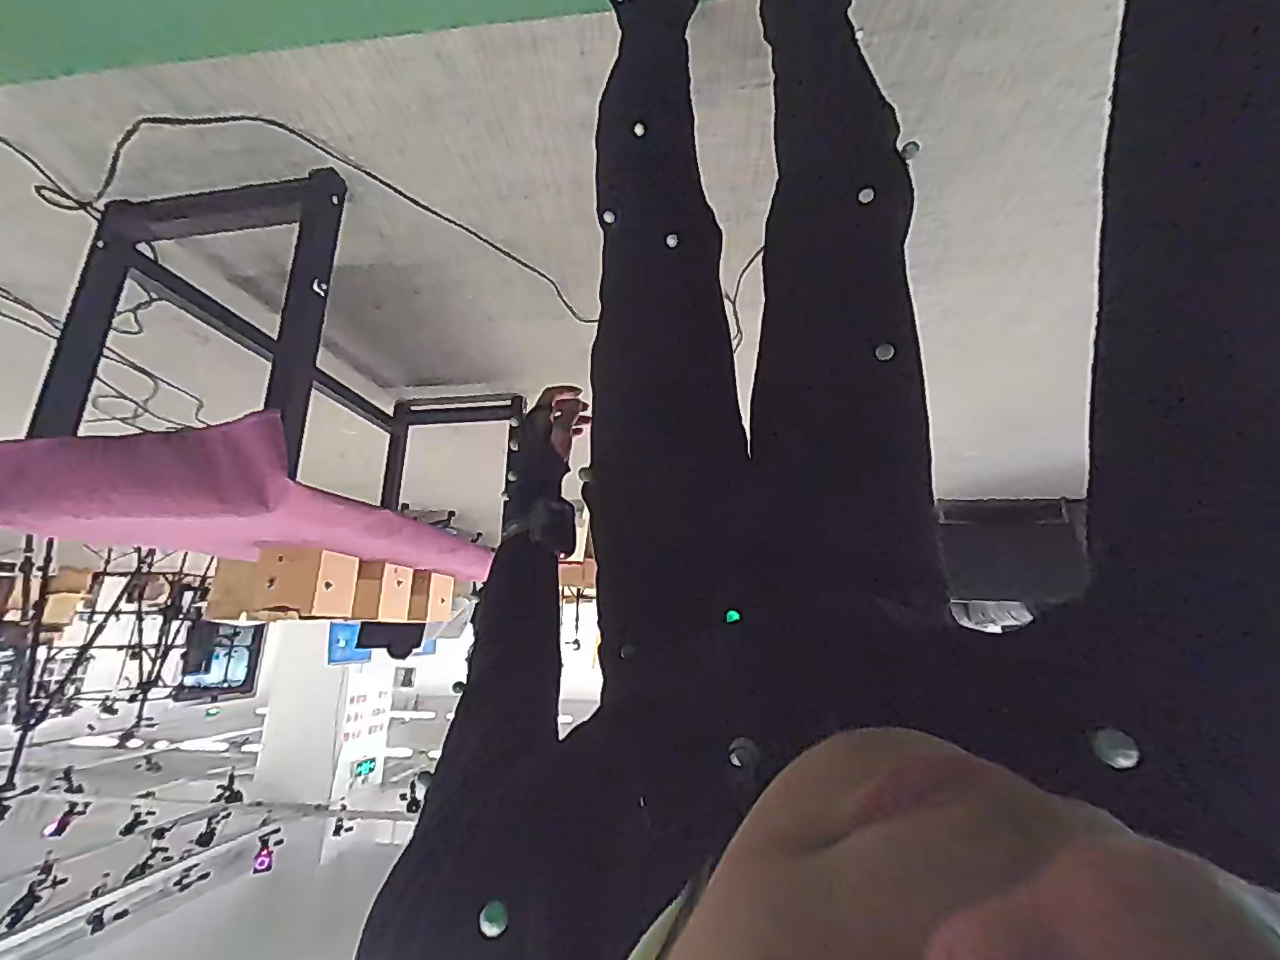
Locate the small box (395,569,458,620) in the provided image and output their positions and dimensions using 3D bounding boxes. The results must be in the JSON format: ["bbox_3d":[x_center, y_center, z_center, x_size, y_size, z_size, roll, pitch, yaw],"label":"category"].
[{"bbox_3d":[-0.760,0.407,1.912,0.168,0.176,0.179,-1,165,7],"label":"small box"}]

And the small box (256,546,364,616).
[{"bbox_3d":[-0.854,0.265,1.415,0.168,0.176,0.179,0,165,3],"label":"small box"}]

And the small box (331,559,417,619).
[{"bbox_3d":[-0.816,0.339,1.672,0.179,0.176,0.168,-2,164,7],"label":"small box"}]
